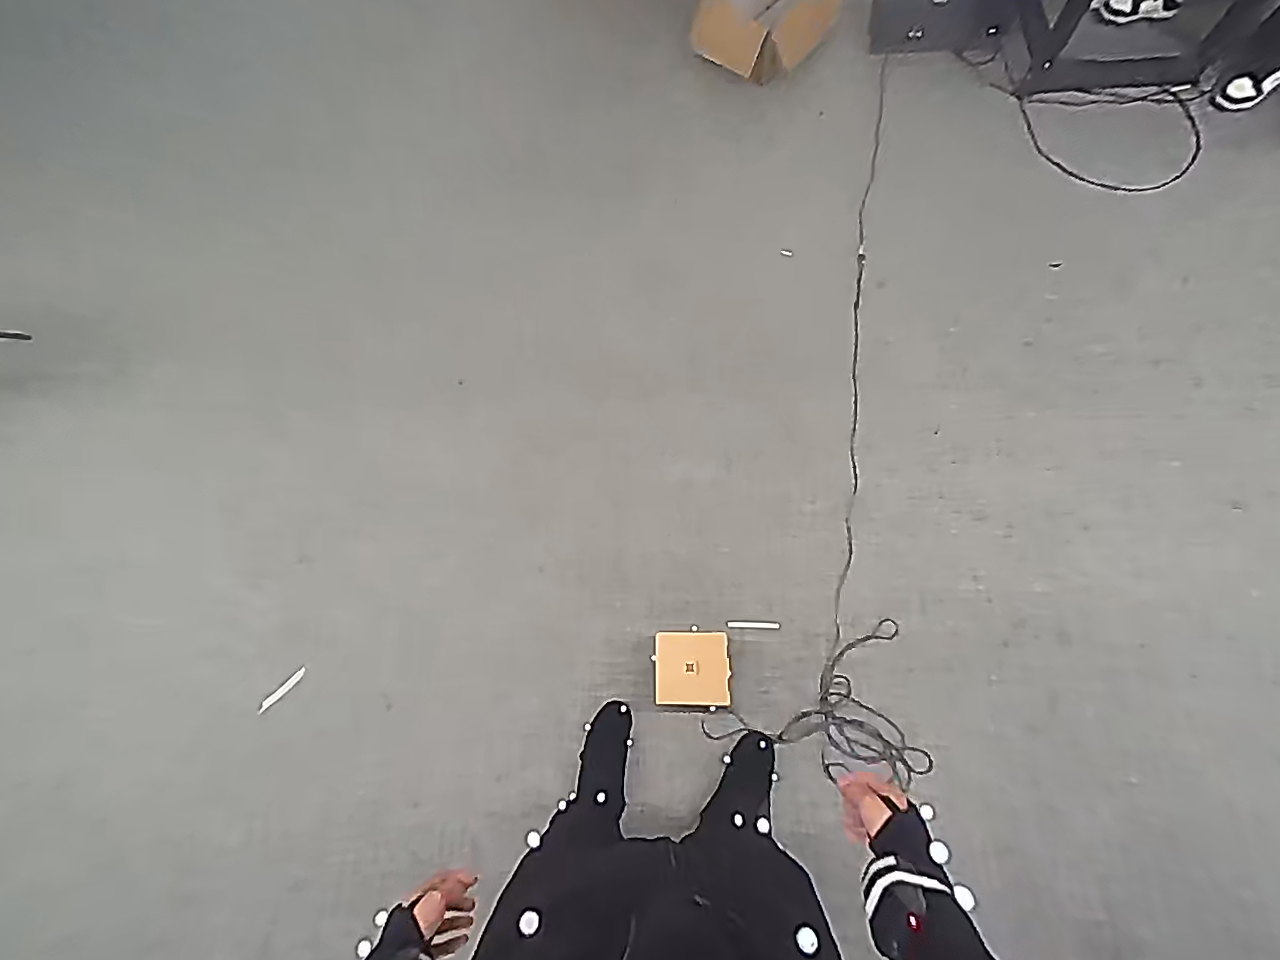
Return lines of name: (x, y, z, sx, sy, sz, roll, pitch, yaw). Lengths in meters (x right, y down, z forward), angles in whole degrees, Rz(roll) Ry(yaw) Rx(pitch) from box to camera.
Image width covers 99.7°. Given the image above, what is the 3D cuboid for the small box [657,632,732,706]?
small box: (0.135, 0.471, 1.351, 0.179, 0.176, 0.168, -1, 71, 5)
